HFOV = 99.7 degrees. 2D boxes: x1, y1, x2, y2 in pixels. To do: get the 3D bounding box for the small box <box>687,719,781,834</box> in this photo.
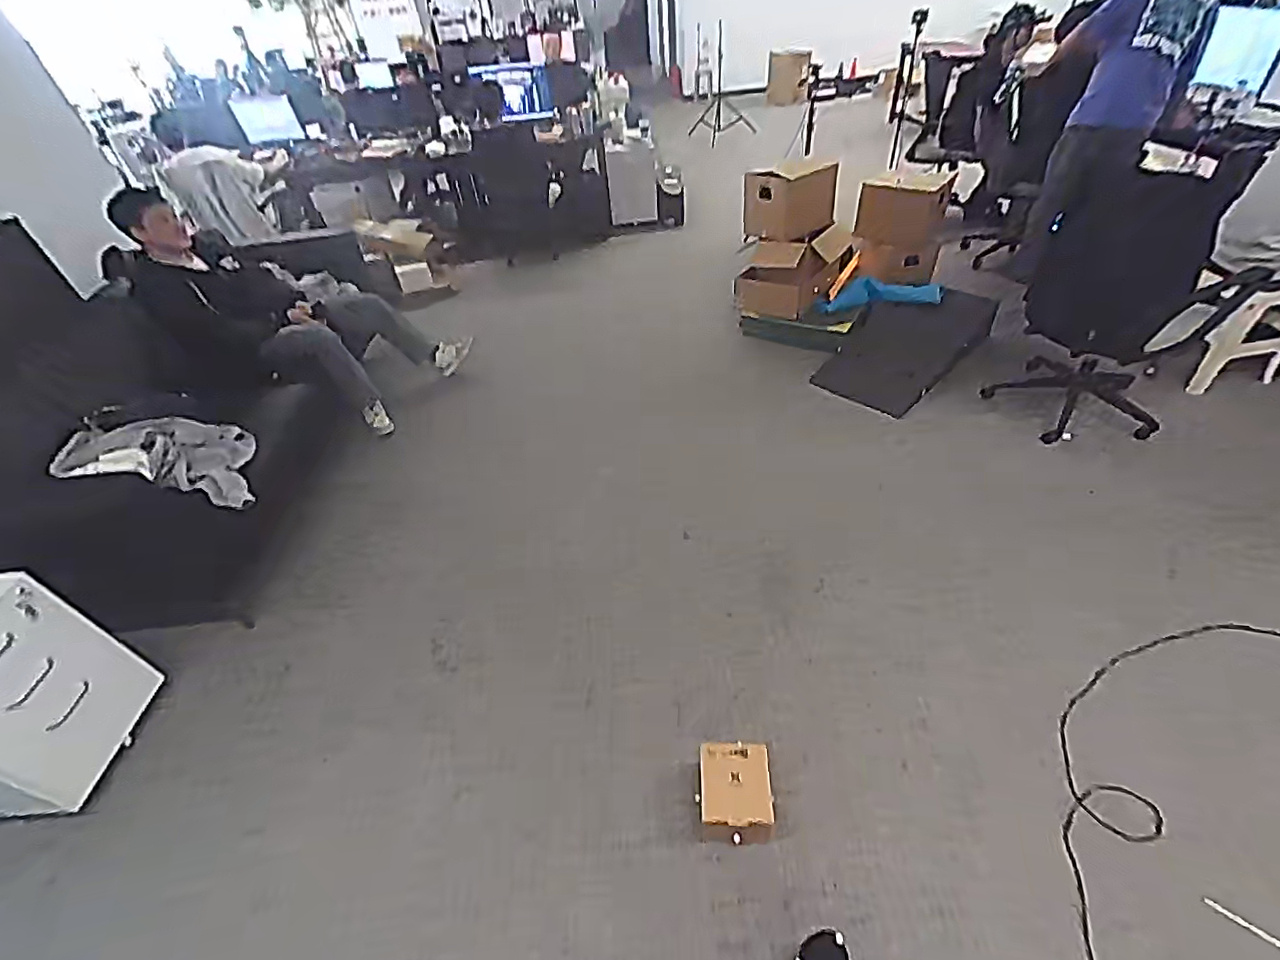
[{"bbox_3d":[0.238,0.751,1.364,0.179,0.176,0.168,-23,43,-14],"label":"small box"}]
